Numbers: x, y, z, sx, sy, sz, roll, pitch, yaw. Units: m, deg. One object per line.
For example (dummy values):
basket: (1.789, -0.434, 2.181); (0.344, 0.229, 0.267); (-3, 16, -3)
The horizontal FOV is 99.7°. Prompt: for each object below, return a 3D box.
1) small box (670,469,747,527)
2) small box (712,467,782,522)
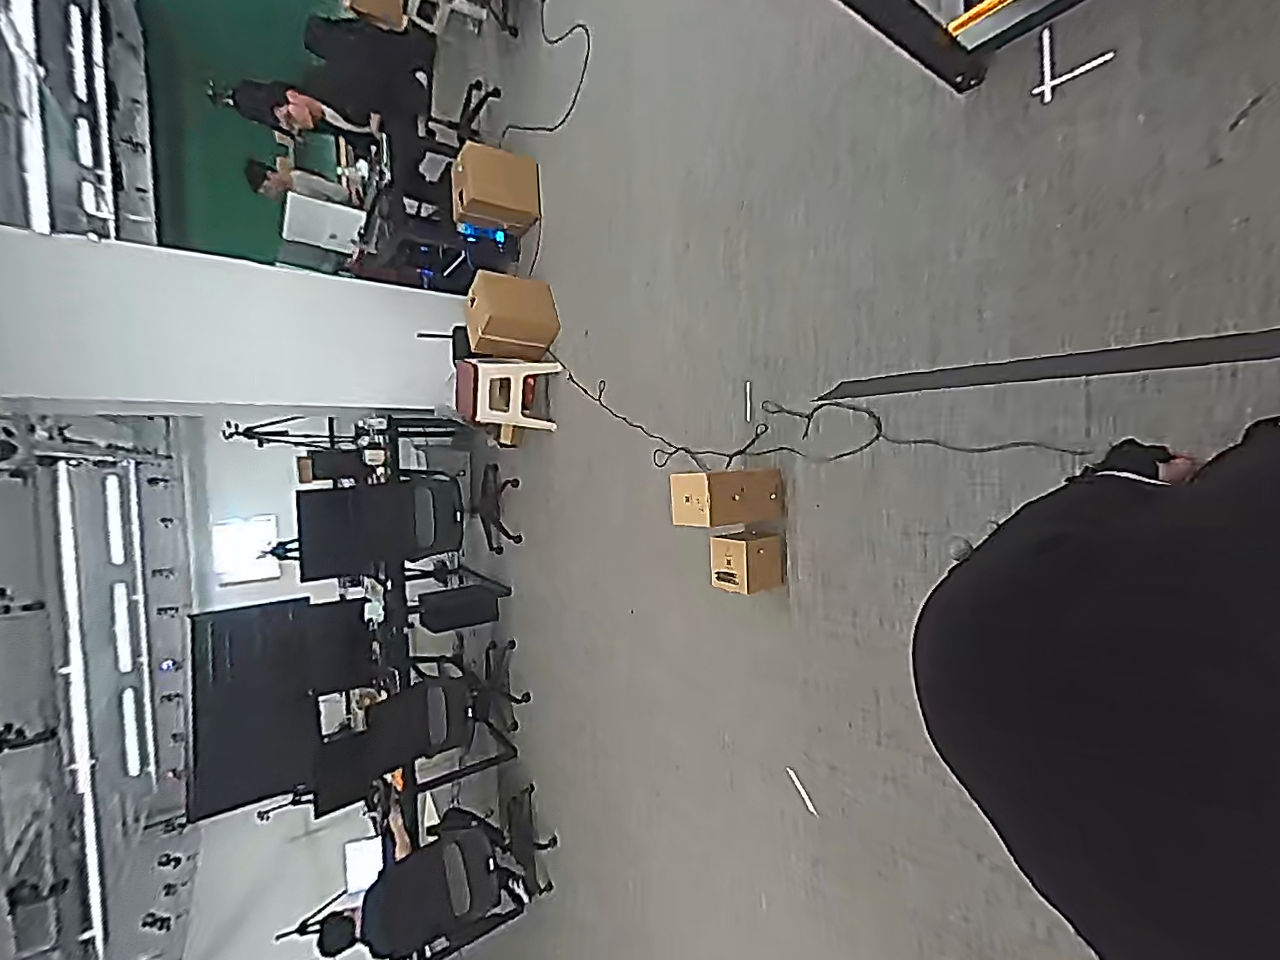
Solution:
small box: (0.216, 0.053, 1.702); (0.179, 0.176, 0.168); (-1, 93, 54)
small box: (0.349, 0.045, 1.799); (0.179, 0.176, 0.168); (1, 94, 53)
